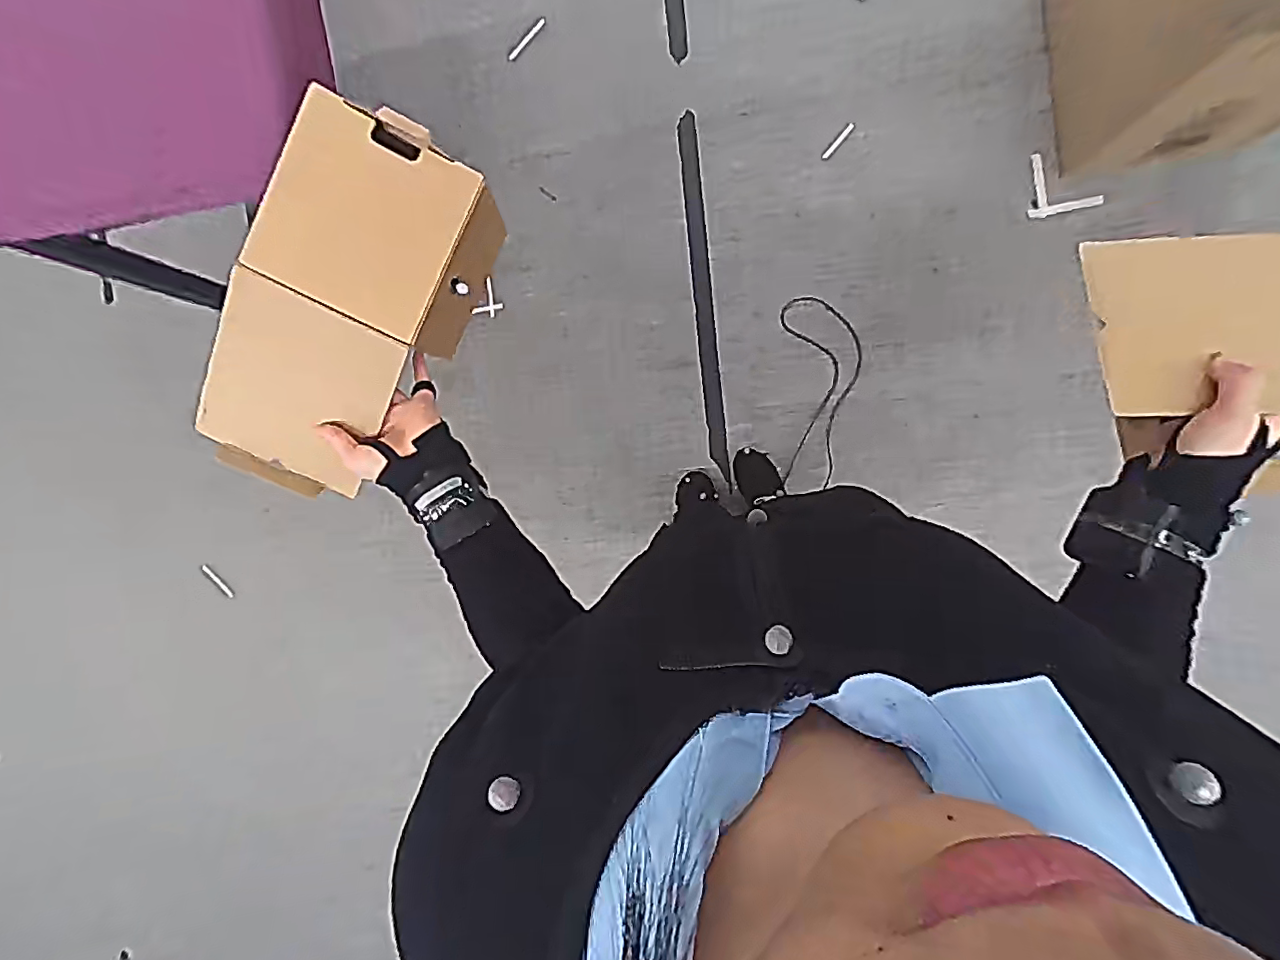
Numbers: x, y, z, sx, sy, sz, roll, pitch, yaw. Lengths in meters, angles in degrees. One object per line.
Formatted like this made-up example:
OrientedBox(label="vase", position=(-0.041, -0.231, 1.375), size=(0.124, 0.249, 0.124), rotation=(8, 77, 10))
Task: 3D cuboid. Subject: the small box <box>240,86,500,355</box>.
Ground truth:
OrientedBox(label="small box", position=(-0.262, -0.248, 0.572), size=(0.168, 0.176, 0.179), rotation=(26, 94, -10))
